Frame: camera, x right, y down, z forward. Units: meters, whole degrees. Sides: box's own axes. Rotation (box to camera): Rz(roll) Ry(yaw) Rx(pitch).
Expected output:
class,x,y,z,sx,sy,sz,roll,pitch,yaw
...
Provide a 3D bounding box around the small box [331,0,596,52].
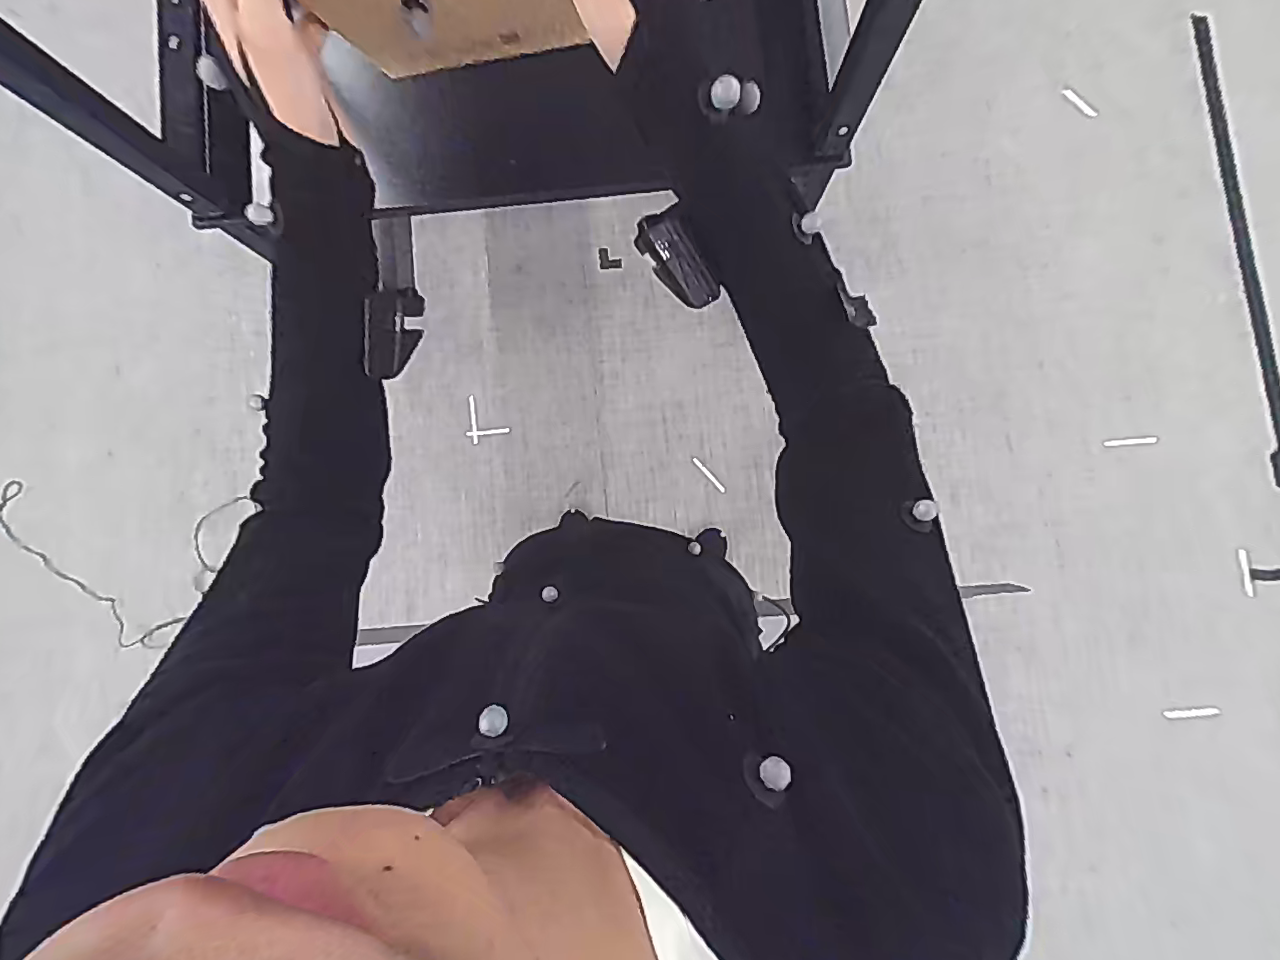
class,x,y,z,sx,sy,sz,roll,pitch,yaw
small box,-0.124,-0.386,0.312,0.168,0.176,0.179,-7,107,4
